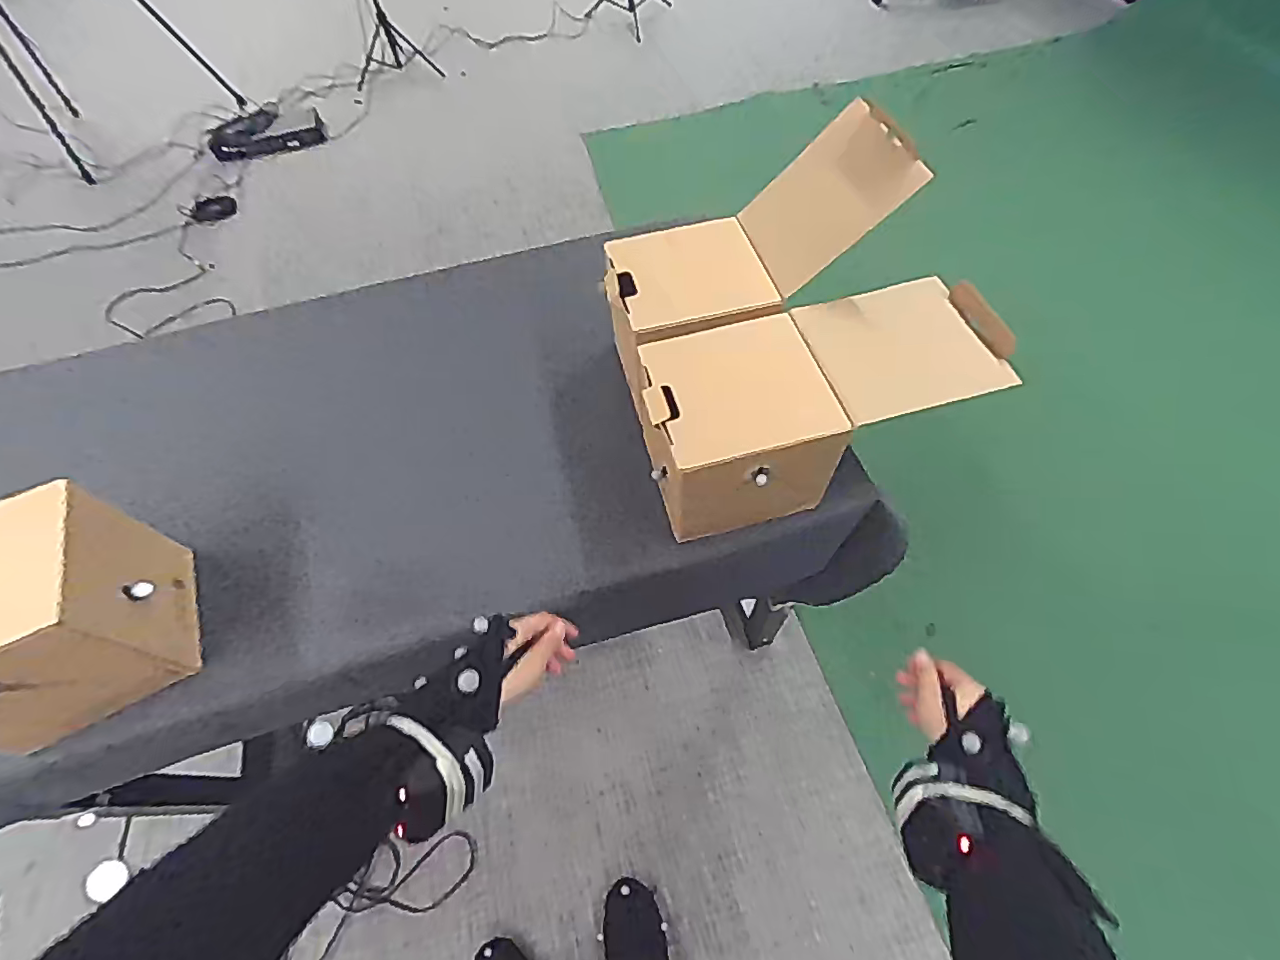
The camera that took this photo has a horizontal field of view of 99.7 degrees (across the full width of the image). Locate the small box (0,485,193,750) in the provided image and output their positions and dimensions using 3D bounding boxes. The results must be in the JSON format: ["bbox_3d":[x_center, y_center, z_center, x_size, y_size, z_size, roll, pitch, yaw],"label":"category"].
[{"bbox_3d":[-0.587,0.141,0.535,0.179,0.176,0.168,-26,60,-12],"label":"small box"}]
